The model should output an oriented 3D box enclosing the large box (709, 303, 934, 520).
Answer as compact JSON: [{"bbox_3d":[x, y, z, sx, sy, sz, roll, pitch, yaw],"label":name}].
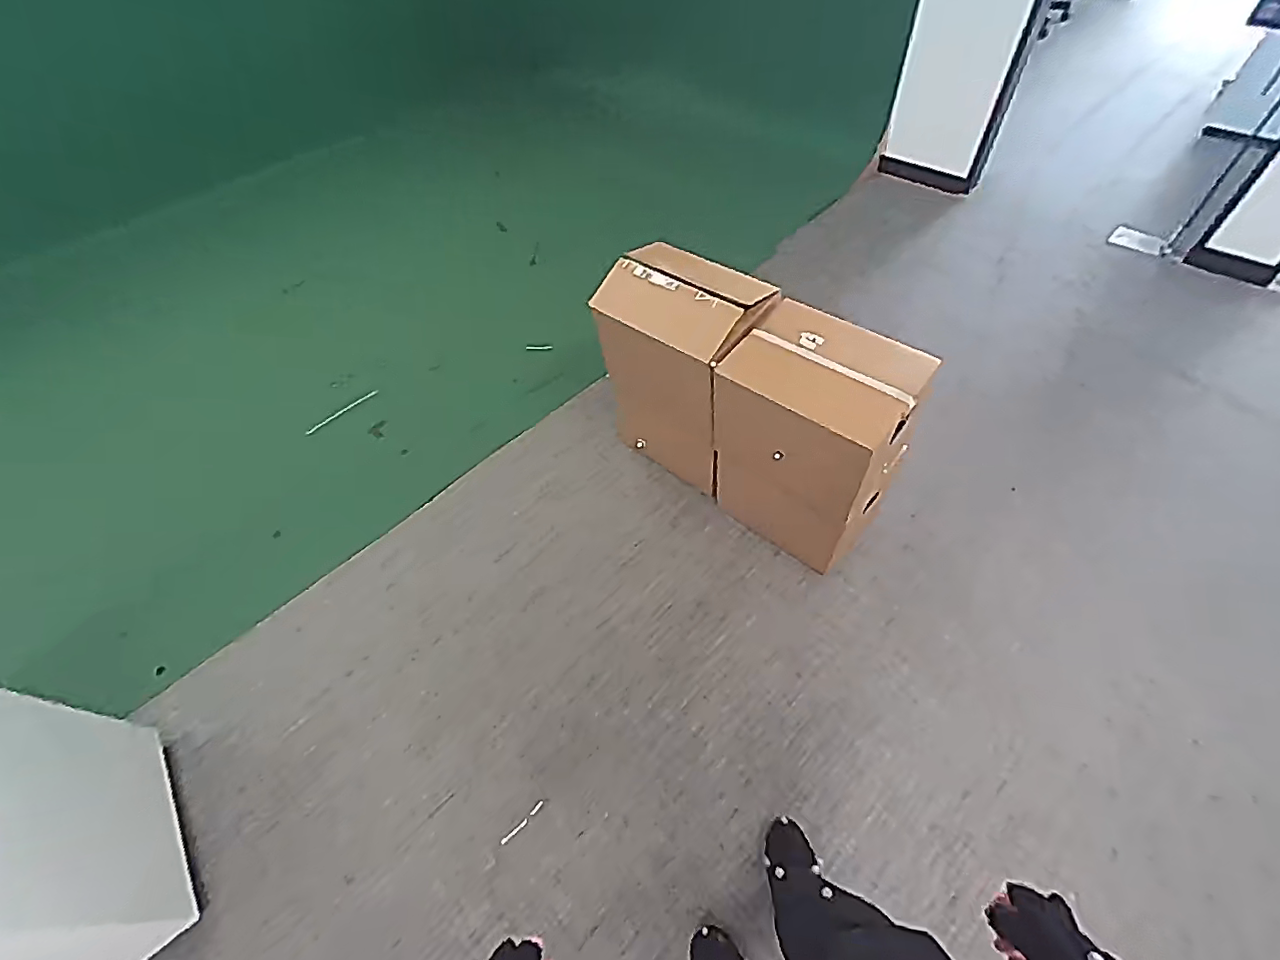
[{"bbox_3d":[0.429,-0.170,1.347,0.408,0.320,0.320,33,66,27],"label":"large box"}]
